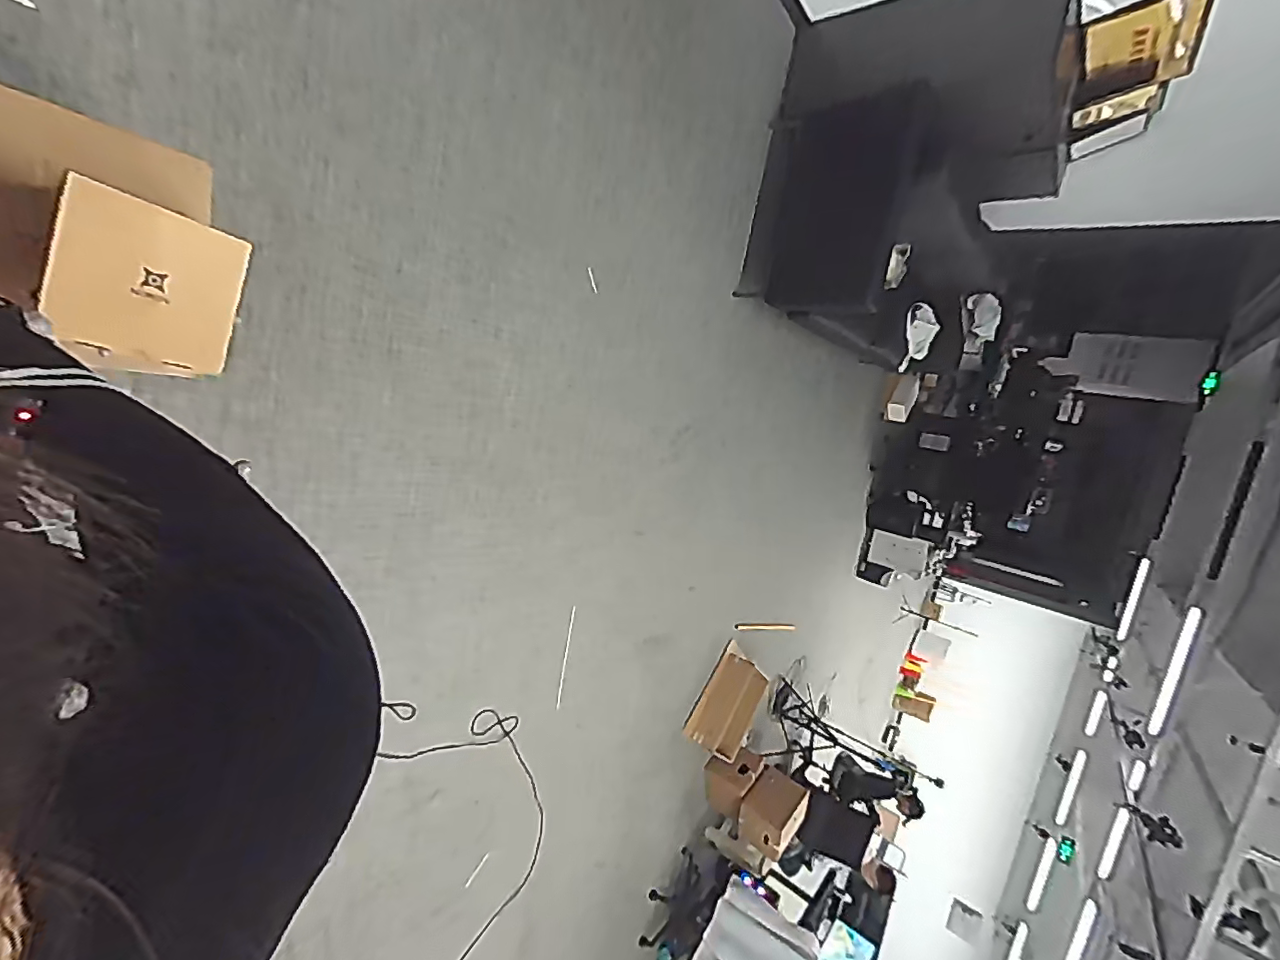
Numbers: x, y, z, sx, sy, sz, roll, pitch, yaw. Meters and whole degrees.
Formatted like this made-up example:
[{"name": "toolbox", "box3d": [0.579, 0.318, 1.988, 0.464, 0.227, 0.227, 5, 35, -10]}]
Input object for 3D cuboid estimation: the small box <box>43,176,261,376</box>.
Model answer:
[{"name": "small box", "box3d": [-0.612, -0.243, 0.677, 0.168, 0.176, 0.179, 10, 96, -52]}]
